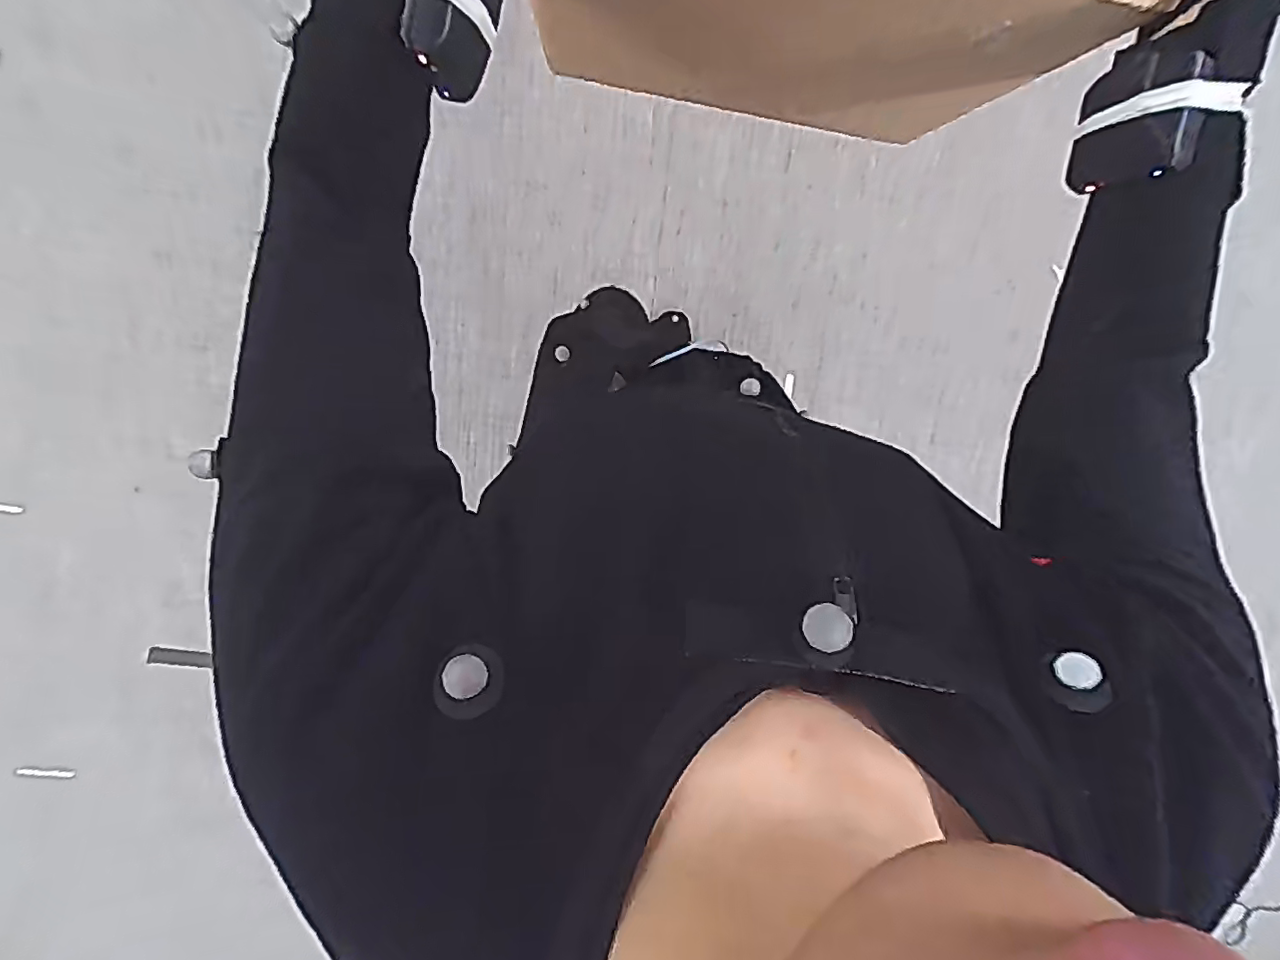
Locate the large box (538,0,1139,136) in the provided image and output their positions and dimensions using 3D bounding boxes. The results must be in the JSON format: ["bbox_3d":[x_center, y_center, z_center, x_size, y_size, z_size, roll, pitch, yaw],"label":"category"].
[{"bbox_3d":[0.130,-0.508,0.414,0.408,0.320,0.320,7,109,-6],"label":"large box"}]
